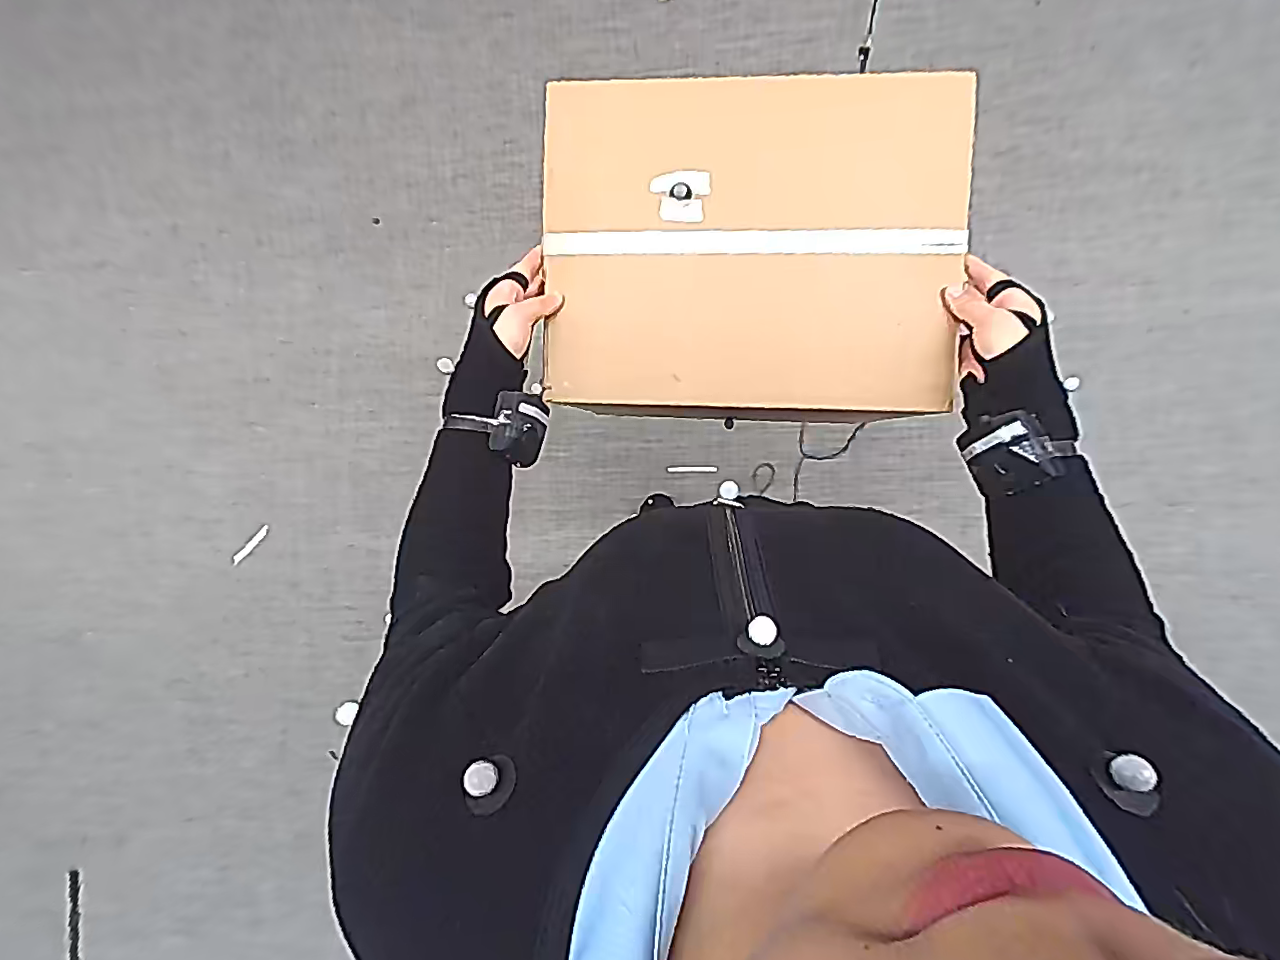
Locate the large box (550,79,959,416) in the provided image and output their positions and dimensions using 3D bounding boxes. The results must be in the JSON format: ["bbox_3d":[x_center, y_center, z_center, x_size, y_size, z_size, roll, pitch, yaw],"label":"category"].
[{"bbox_3d":[0.121,-0.241,0.688,0.408,0.320,0.320,2,93,5],"label":"large box"}]
